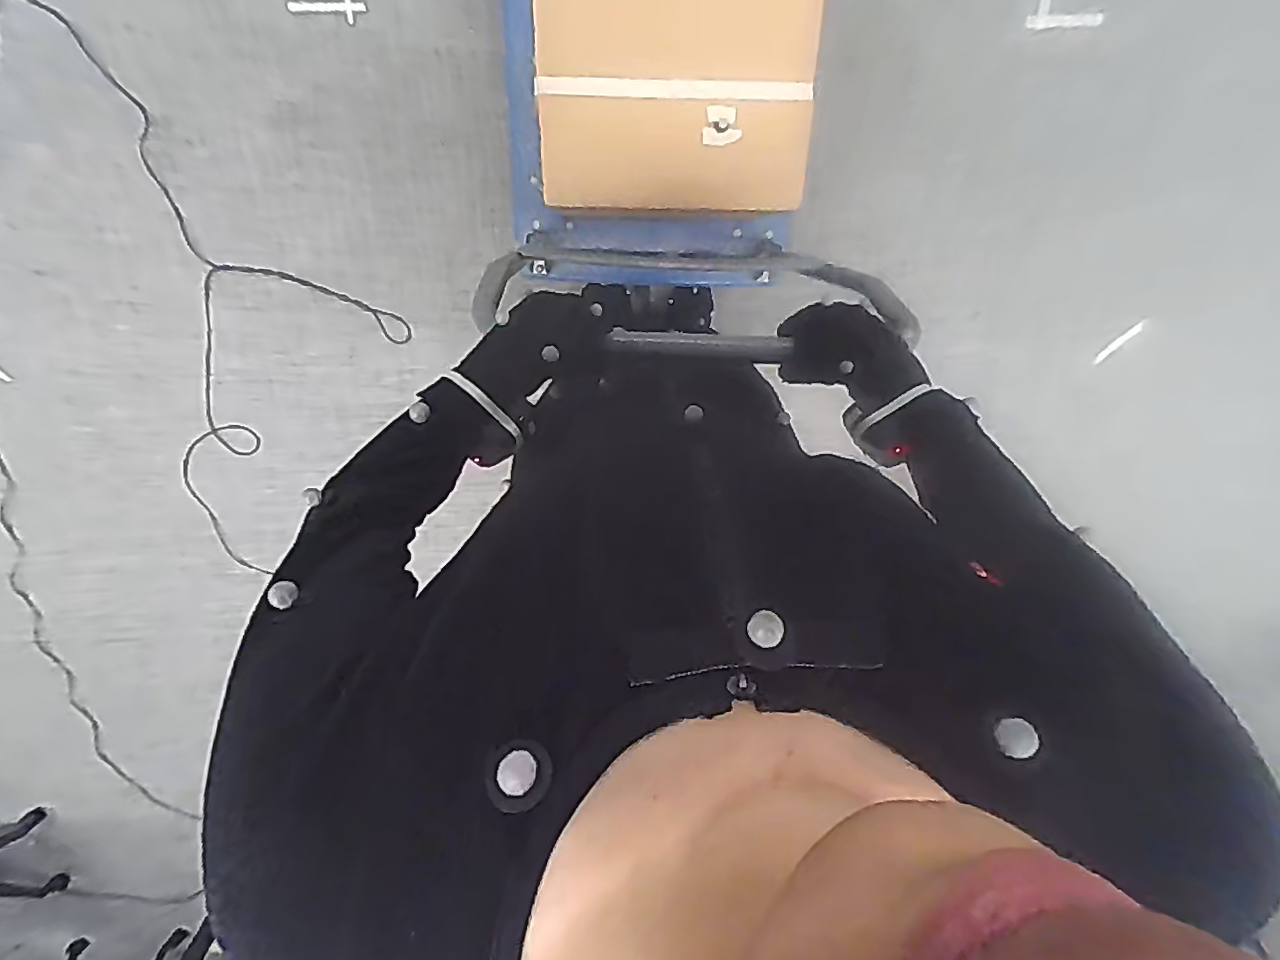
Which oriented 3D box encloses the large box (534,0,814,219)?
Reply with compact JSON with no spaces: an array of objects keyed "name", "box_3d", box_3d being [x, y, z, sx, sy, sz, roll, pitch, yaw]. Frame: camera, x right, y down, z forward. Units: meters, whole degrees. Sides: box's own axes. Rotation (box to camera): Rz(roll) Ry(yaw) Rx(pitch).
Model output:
[{"name":"large box","box_3d":[0.039,-0.635,0.939,0.408,0.320,0.320,-2,114,-4]}]
